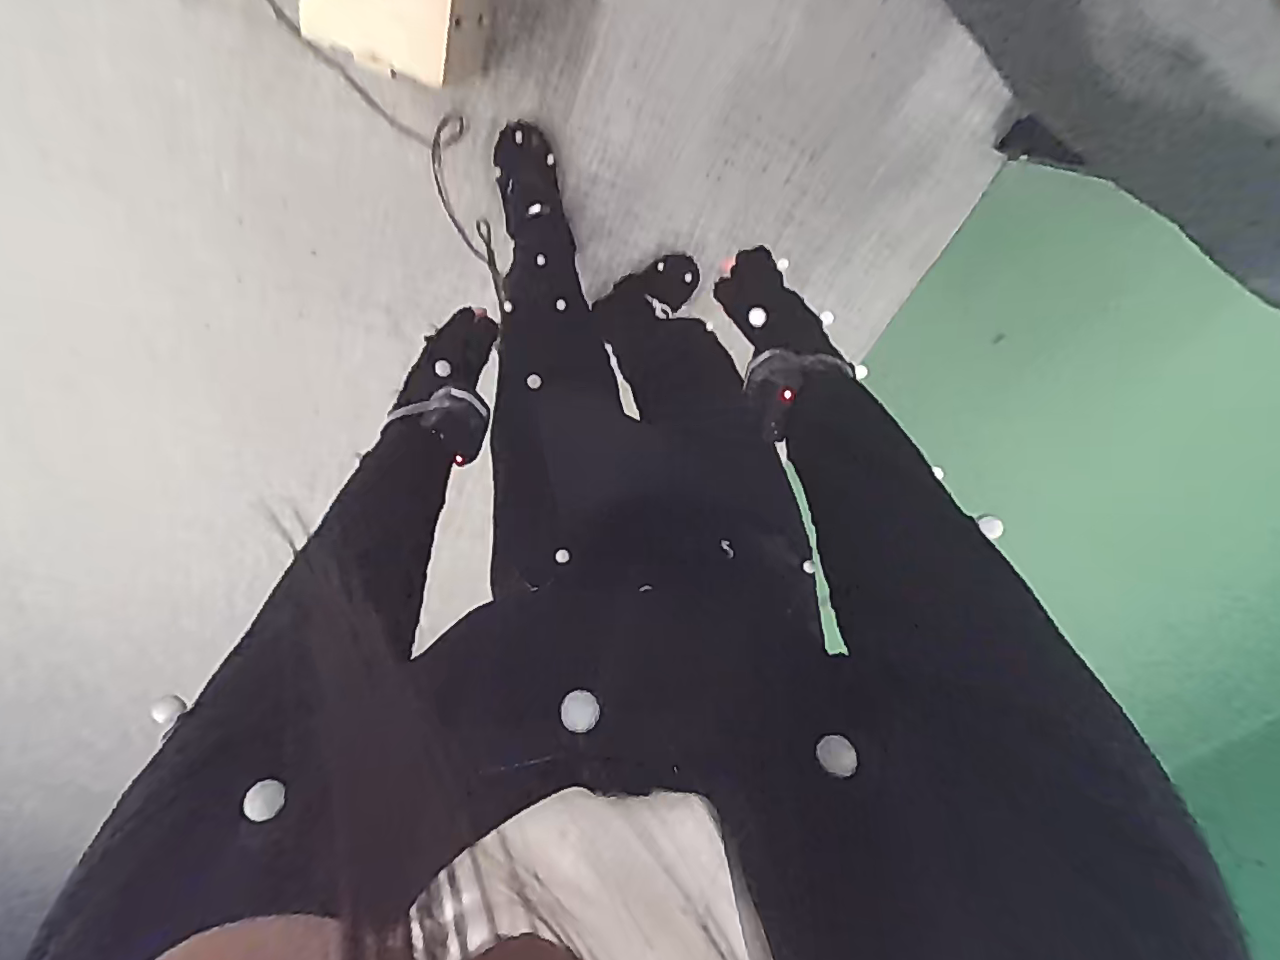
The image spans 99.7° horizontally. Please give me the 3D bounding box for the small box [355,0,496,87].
[{"bbox_3d":[-0.315,-0.724,0.814,0.168,0.176,0.179,10,126,-13],"label":"small box"}]
